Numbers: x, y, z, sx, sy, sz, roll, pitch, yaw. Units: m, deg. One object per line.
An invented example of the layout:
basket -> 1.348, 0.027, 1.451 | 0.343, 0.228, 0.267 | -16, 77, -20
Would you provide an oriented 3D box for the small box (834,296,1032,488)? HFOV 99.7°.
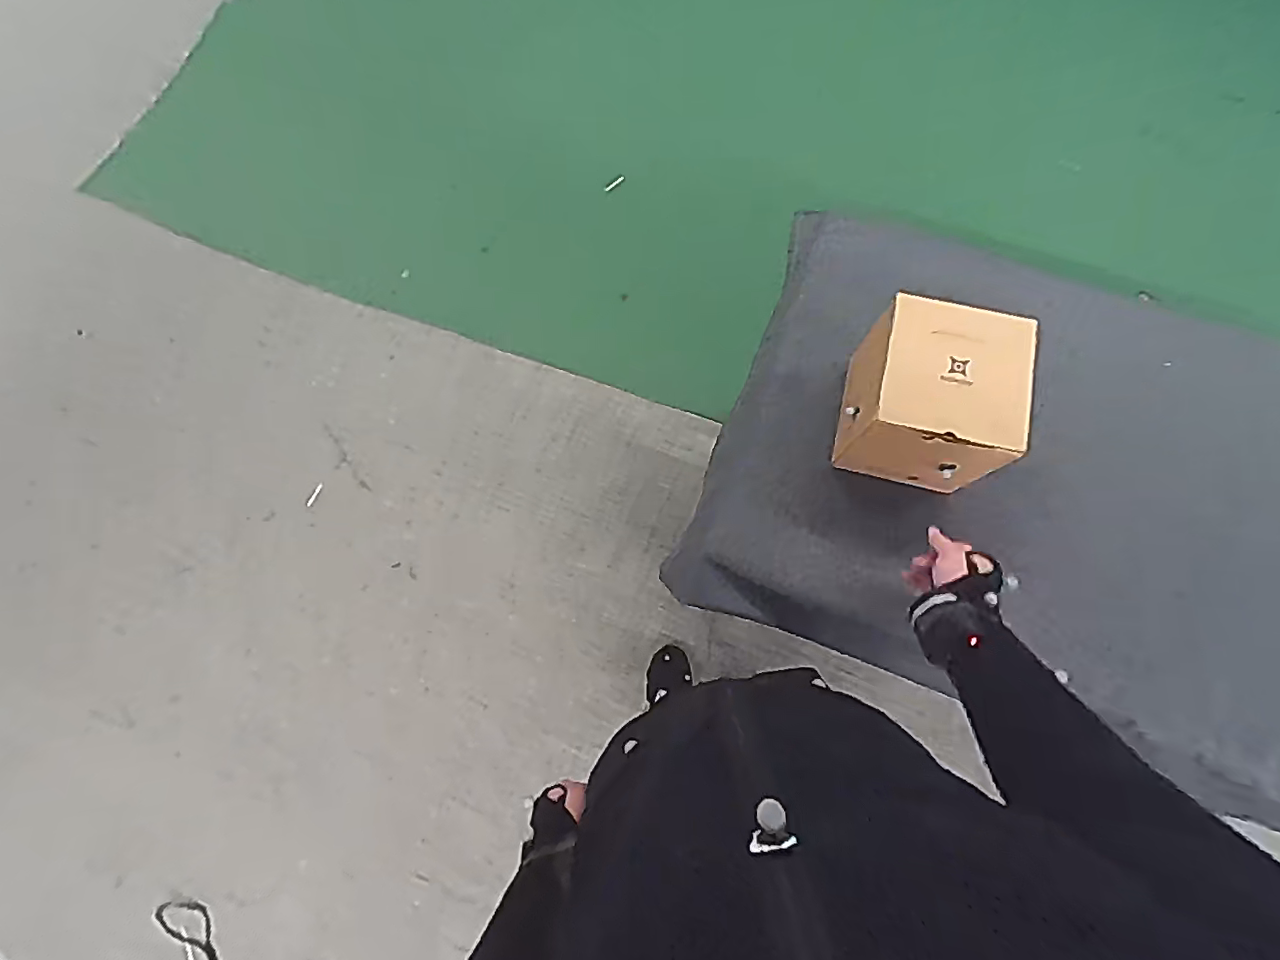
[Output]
small box -> 0.368, -0.103, 0.706 | 0.168, 0.176, 0.179 | 14, 74, 4
